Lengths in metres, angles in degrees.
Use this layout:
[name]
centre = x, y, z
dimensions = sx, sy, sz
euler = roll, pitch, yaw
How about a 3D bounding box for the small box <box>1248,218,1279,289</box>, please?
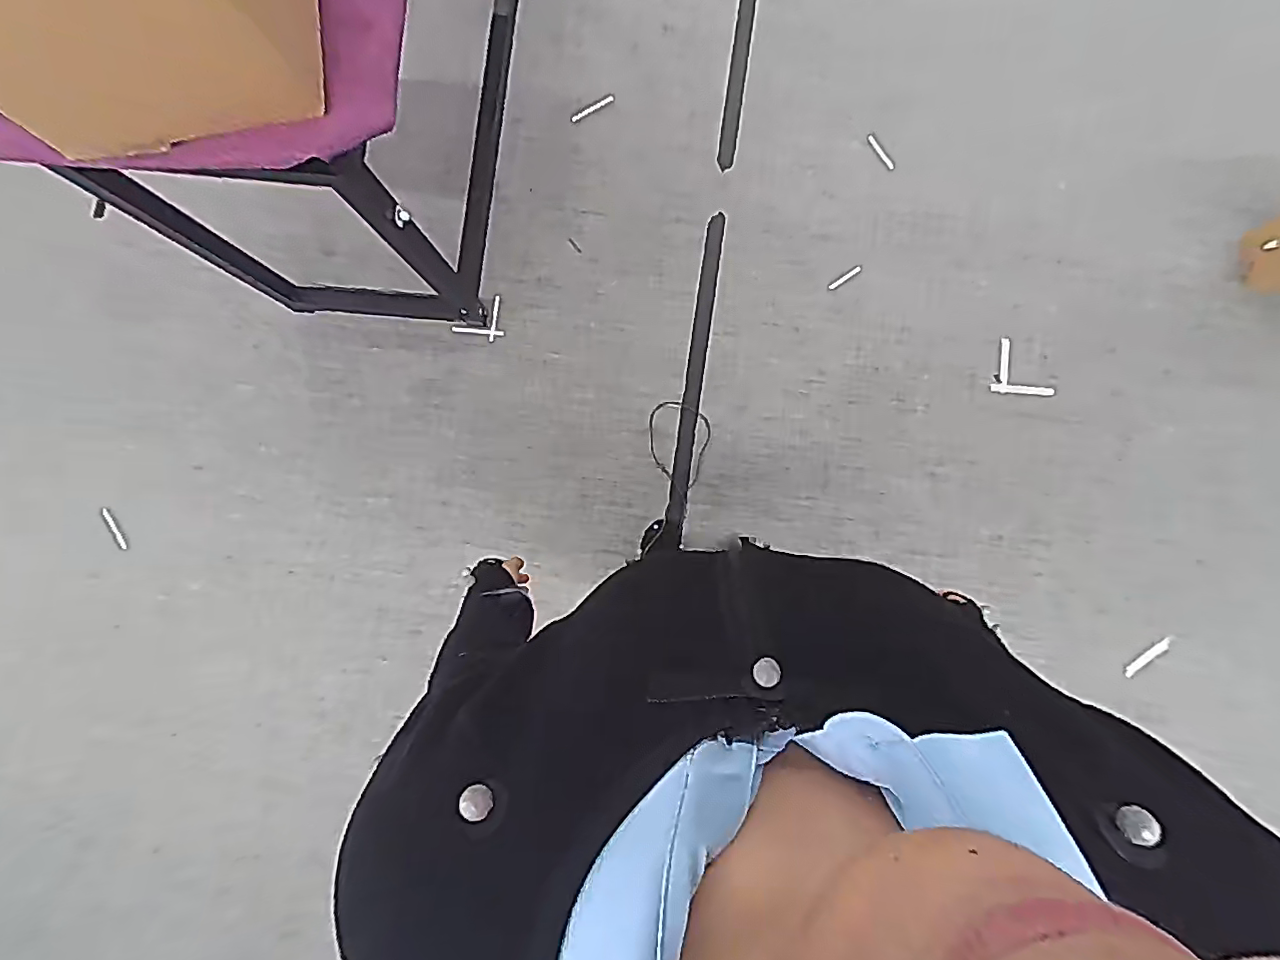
[small box]
centre = 1.783, -0.615, 1.434
dimensions = 0.179, 0.176, 0.168
euler = 3, 86, 2
